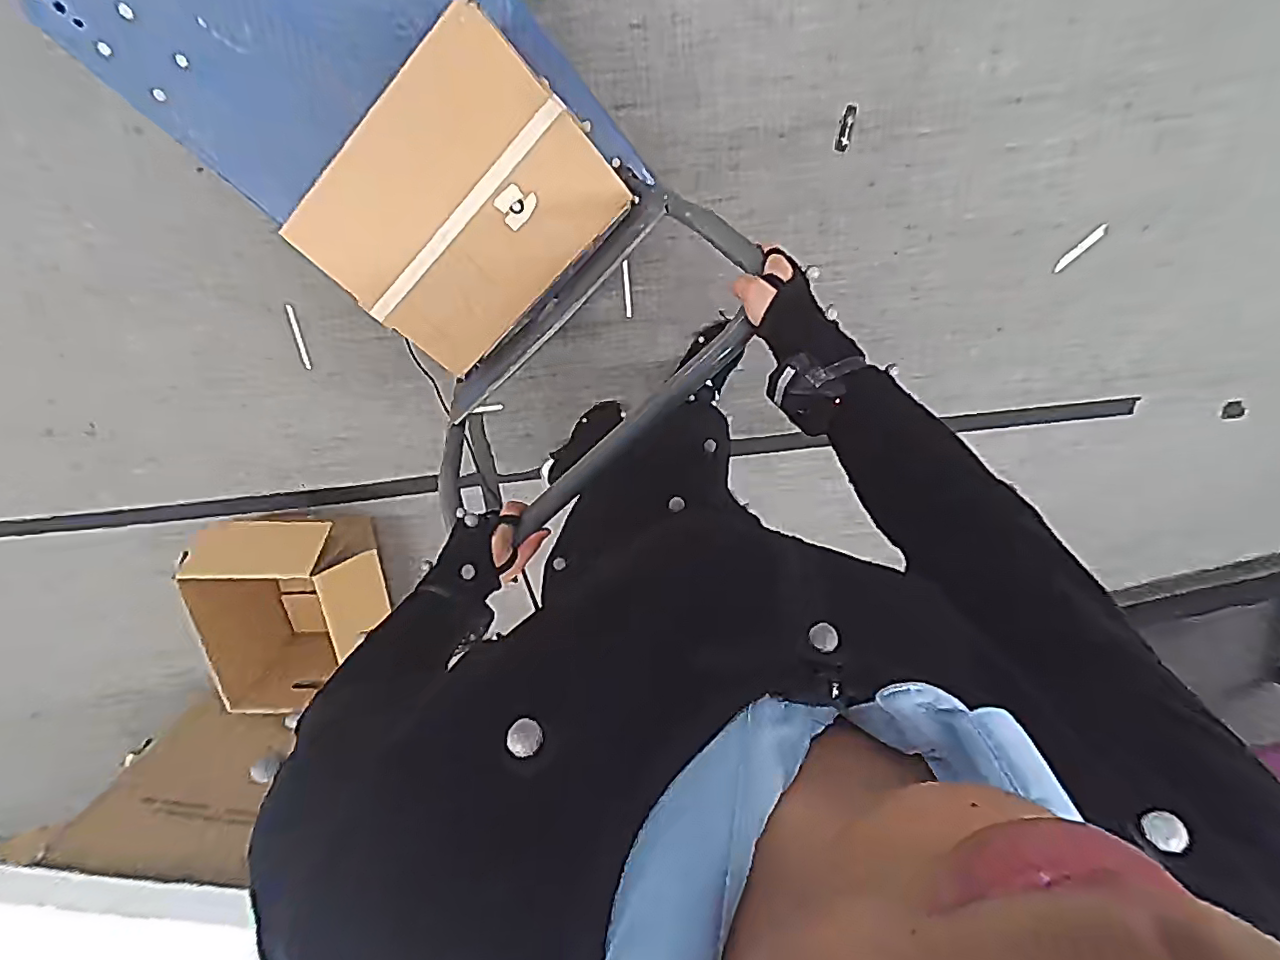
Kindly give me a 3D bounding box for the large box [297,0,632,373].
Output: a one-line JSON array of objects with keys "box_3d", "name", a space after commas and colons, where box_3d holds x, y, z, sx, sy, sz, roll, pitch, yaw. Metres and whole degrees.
[{"box_3d": [-0.276, -0.465, 0.918, 0.408, 0.320, 0.320, -42, 120, 14], "name": "large box"}]
